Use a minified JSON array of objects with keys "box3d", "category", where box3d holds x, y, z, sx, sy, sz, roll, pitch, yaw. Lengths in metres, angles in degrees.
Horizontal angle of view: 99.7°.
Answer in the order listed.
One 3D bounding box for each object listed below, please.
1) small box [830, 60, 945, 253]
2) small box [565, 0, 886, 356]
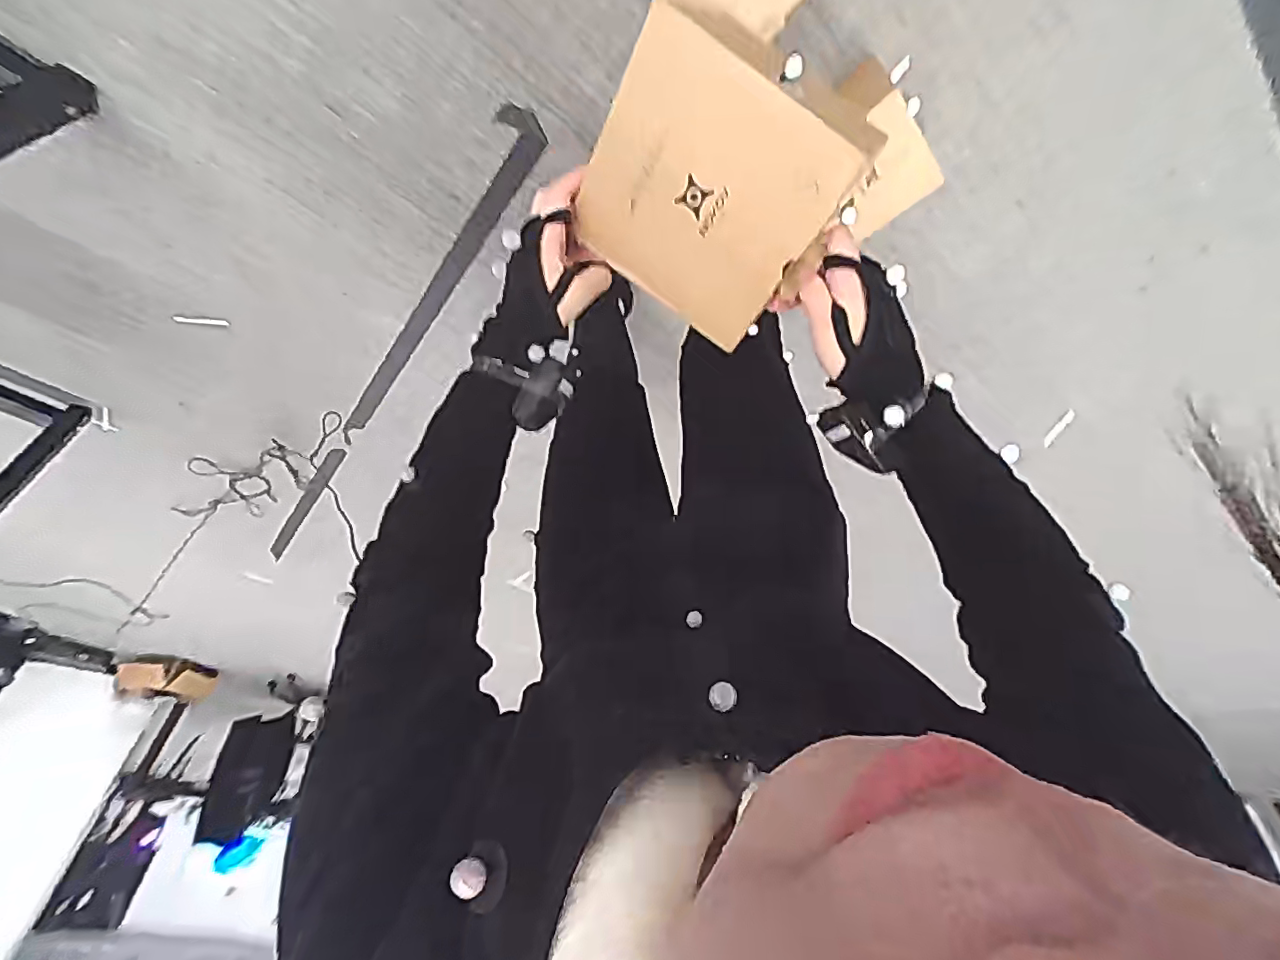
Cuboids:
[{"box3d":[0.349,-0.515,0.867,0.179,0.176,0.168,-29,131,35],"category":"small box"},{"box3d":[0.075,-0.241,0.441,0.179,0.176,0.168,37,132,-1],"category":"small box"}]
